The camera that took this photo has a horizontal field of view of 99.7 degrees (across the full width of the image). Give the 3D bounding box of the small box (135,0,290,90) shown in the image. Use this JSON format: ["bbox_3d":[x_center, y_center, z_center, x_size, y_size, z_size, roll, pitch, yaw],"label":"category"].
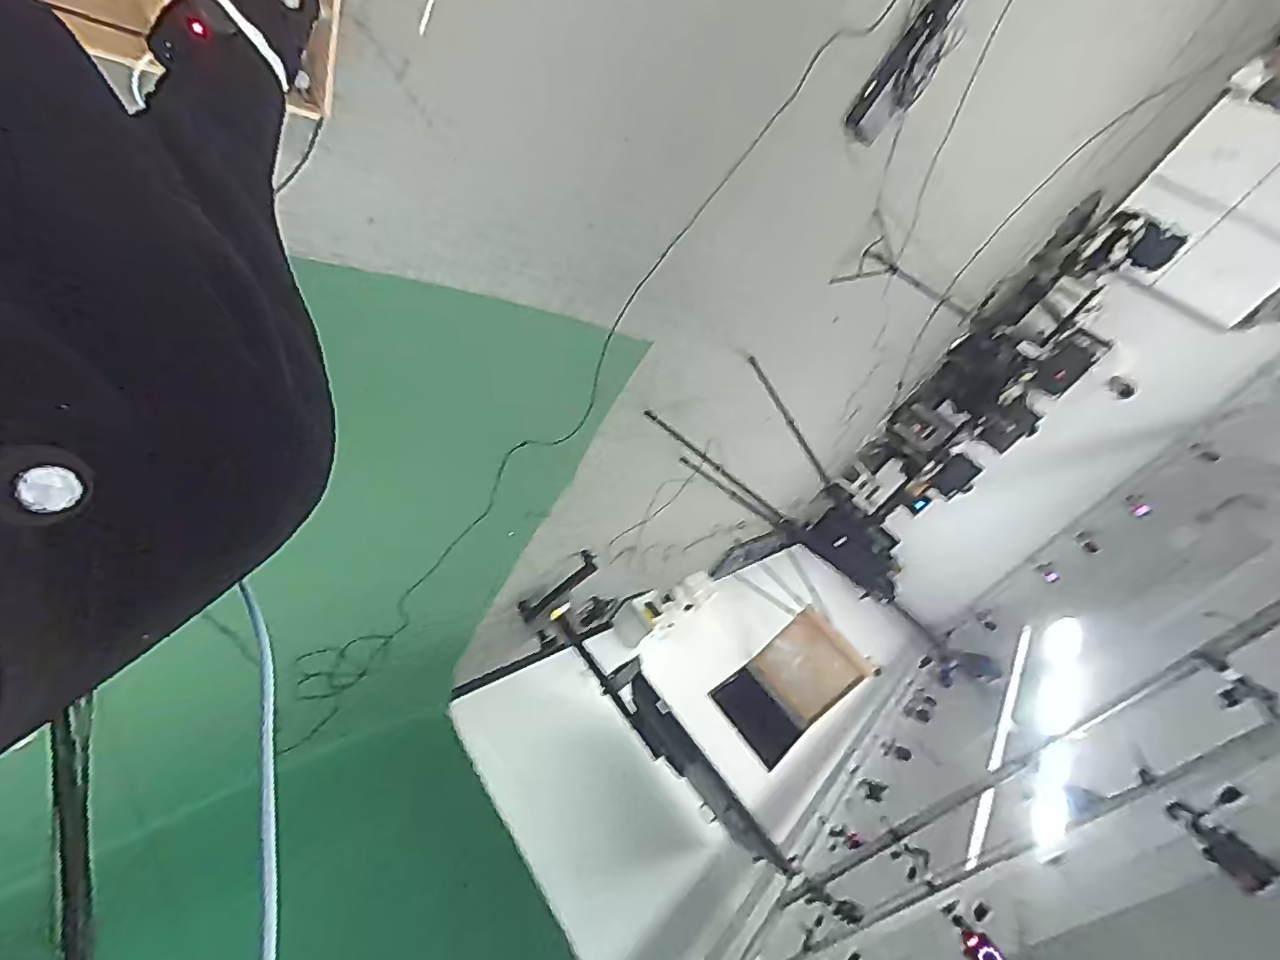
[{"bbox_3d":[-0.701,-0.796,0.885,0.168,0.176,0.179,-8,138,-50],"label":"small box"}]
